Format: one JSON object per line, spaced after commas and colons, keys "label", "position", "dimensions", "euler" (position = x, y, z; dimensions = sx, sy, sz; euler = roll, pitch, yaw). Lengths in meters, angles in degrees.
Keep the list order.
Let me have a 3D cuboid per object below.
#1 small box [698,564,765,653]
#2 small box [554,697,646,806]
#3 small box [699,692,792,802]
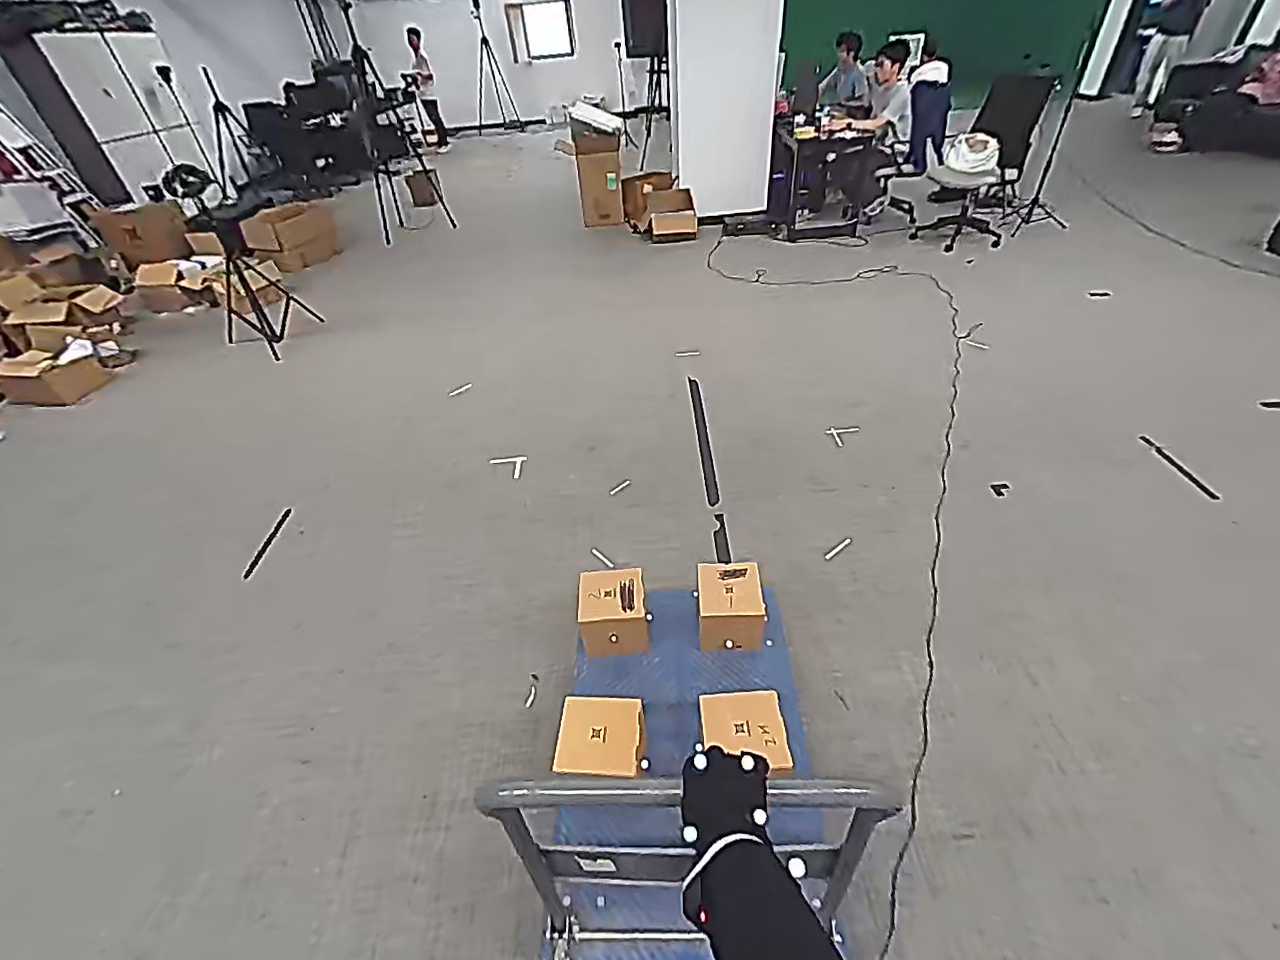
{"label": "small box", "position": [0.245, 0.351, 1.485], "dimensions": [0.168, 0.176, 0.179], "euler": [-2, 41, 4]}
{"label": "small box", "position": [-0.082, 0.610, 1.215], "dimensions": [0.179, 0.176, 0.168], "euler": [1, 40, 5]}
{"label": "small box", "position": [0.227, 0.593, 1.197], "dimensions": [0.179, 0.176, 0.168], "euler": [-4, 40, 2]}
